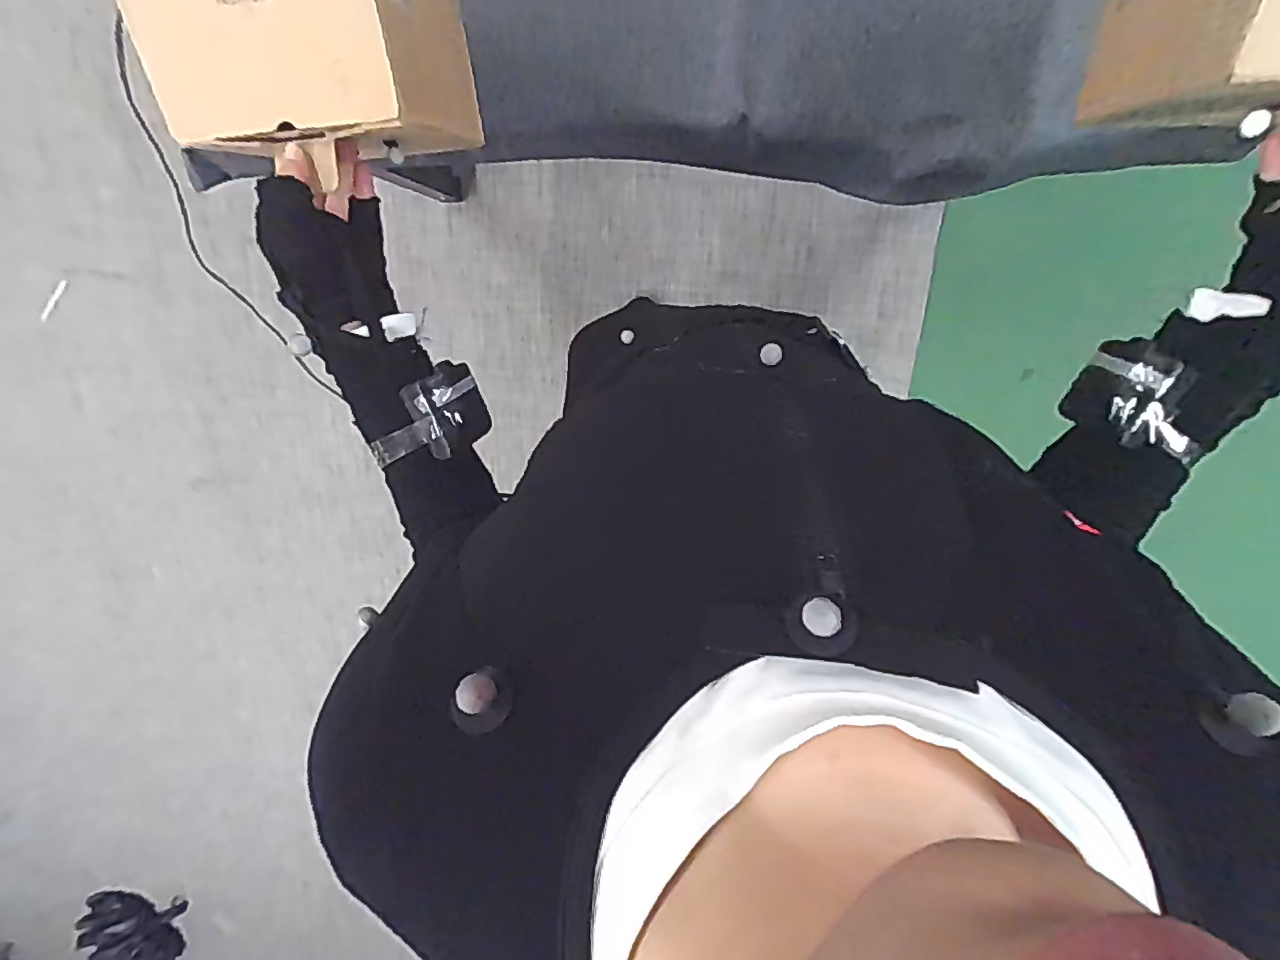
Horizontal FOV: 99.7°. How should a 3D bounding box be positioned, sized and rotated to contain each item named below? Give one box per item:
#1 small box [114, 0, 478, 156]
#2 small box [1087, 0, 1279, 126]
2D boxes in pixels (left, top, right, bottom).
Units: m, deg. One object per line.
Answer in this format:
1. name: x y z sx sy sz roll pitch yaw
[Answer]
1. small box: -0.234 -0.341 0.388 0.168 0.176 0.179 -3 116 6
2. small box: 0.424 -0.323 0.326 0.168 0.176 0.179 4 117 8
